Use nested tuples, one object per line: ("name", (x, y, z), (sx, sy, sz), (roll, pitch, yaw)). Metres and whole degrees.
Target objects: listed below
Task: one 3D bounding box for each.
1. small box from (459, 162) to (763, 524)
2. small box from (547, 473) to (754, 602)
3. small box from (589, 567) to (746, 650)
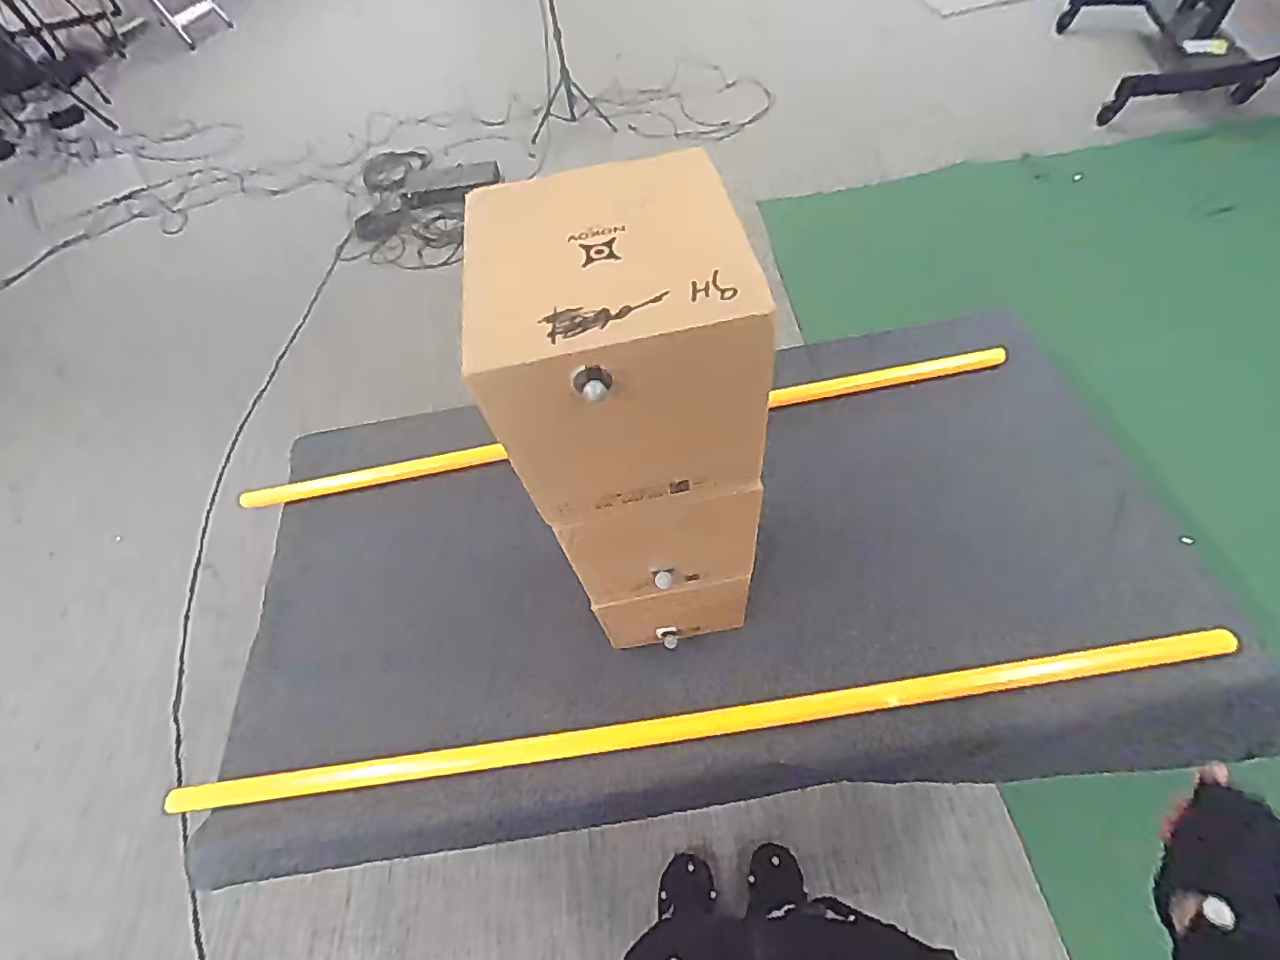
("small box", (-0.017, -0.093, 0.396), (0.168, 0.176, 0.179), (-12, 56, 2))
("small box", (0.006, -0.002, 0.530), (0.168, 0.176, 0.179), (-11, 57, 1))
("small box", (0.025, 0.089, 0.666), (0.168, 0.176, 0.179), (-12, 58, 1))
